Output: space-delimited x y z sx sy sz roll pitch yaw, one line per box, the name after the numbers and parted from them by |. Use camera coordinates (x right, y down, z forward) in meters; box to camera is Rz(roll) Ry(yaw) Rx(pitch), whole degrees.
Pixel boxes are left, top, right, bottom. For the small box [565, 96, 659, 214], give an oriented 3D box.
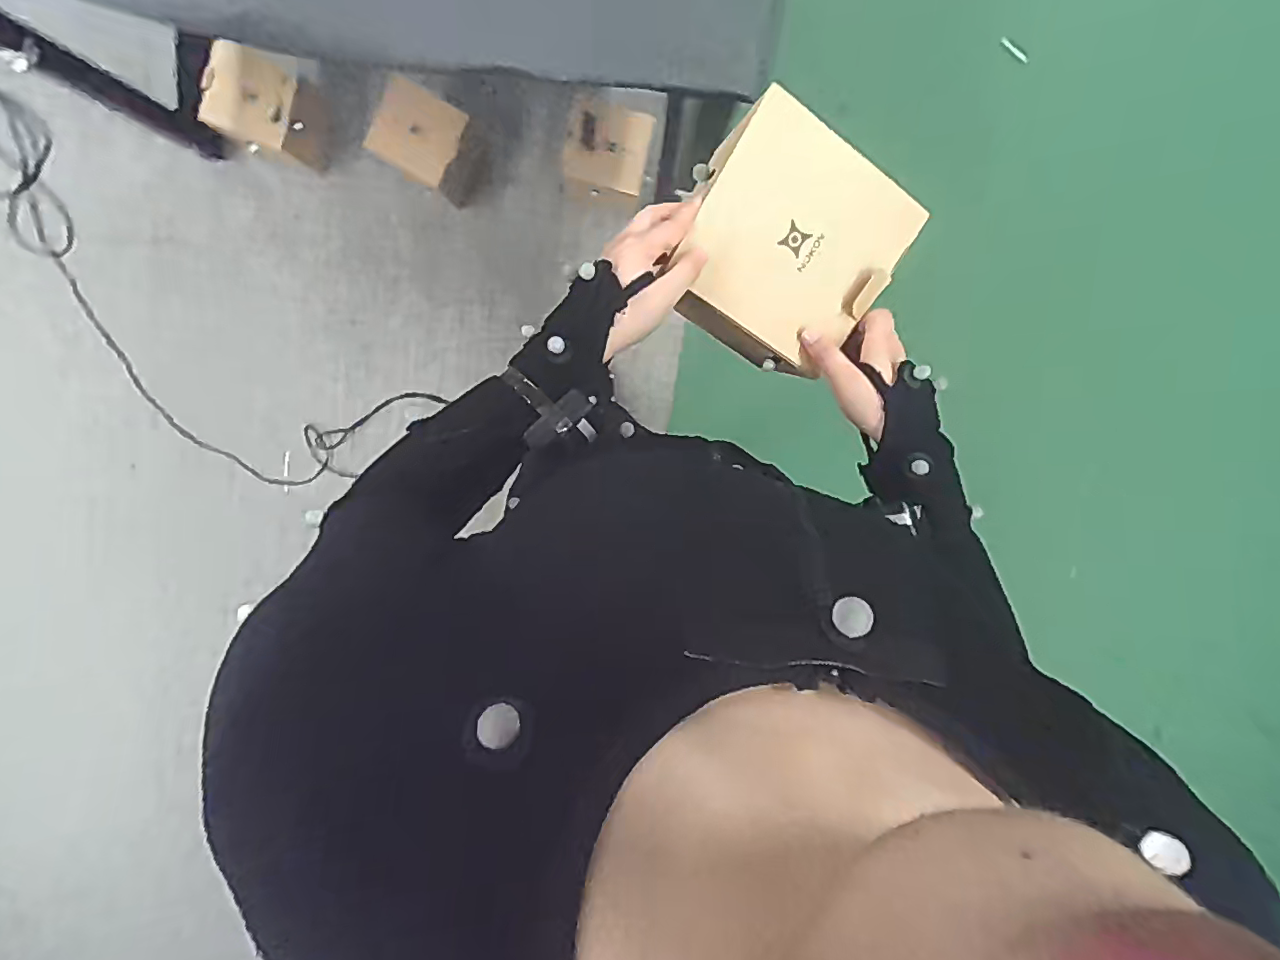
-0.065 -0.738 1.249 0.179 0.176 0.168 13 101 -5 | small box

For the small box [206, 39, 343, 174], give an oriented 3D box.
-0.811 -0.823 1.214 0.179 0.176 0.168 20 100 -5 | small box

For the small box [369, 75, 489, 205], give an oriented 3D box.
-0.470 -0.760 1.235 0.179 0.176 0.168 28 98 -5 | small box
